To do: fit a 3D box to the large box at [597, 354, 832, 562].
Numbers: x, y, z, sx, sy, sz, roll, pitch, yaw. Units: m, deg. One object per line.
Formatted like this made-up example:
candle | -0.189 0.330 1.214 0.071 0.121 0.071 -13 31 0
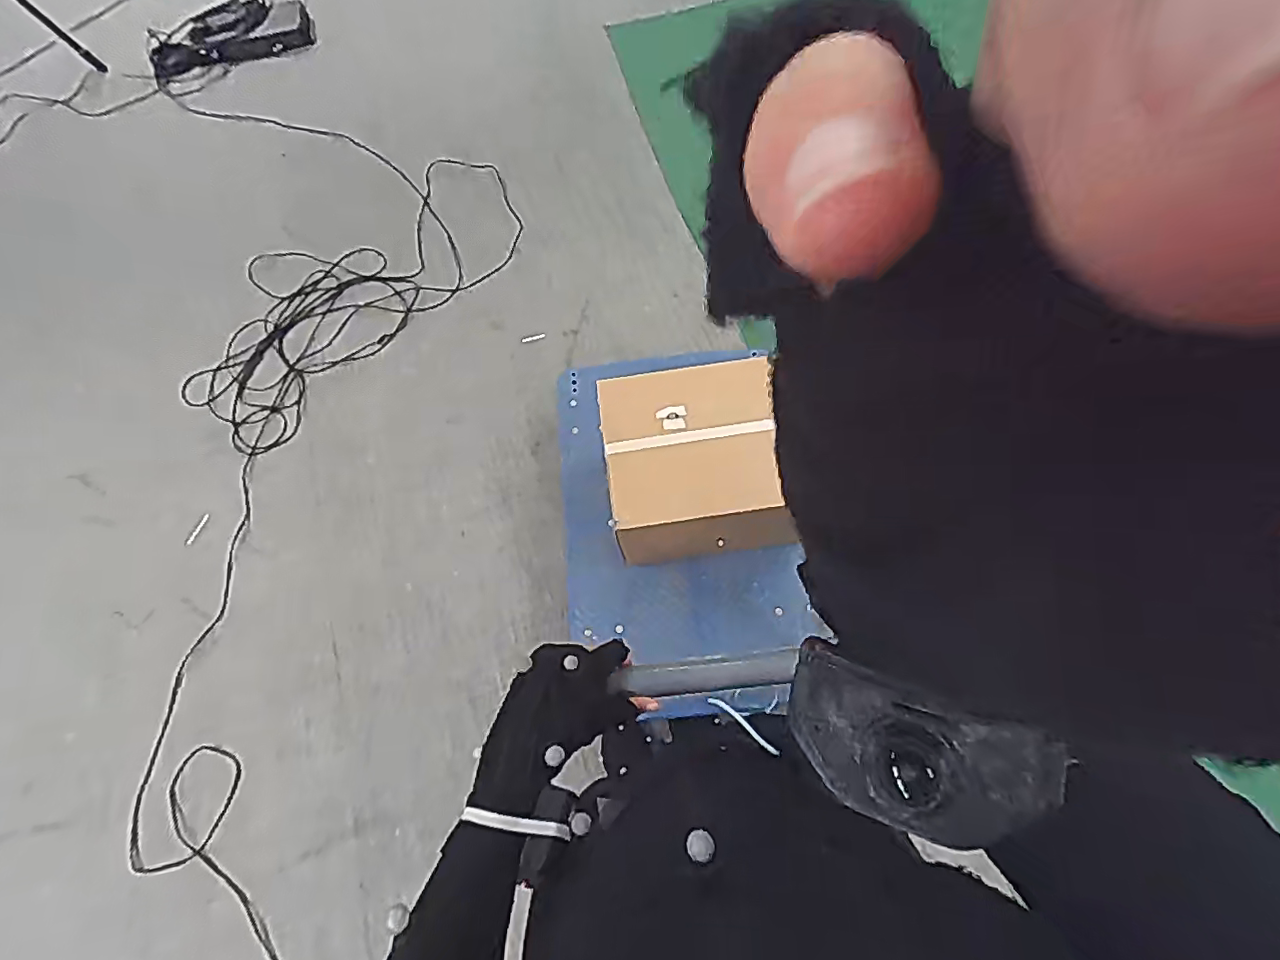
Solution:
large box | 0.143 -0.028 1.173 0.408 0.320 0.320 -10 69 1
